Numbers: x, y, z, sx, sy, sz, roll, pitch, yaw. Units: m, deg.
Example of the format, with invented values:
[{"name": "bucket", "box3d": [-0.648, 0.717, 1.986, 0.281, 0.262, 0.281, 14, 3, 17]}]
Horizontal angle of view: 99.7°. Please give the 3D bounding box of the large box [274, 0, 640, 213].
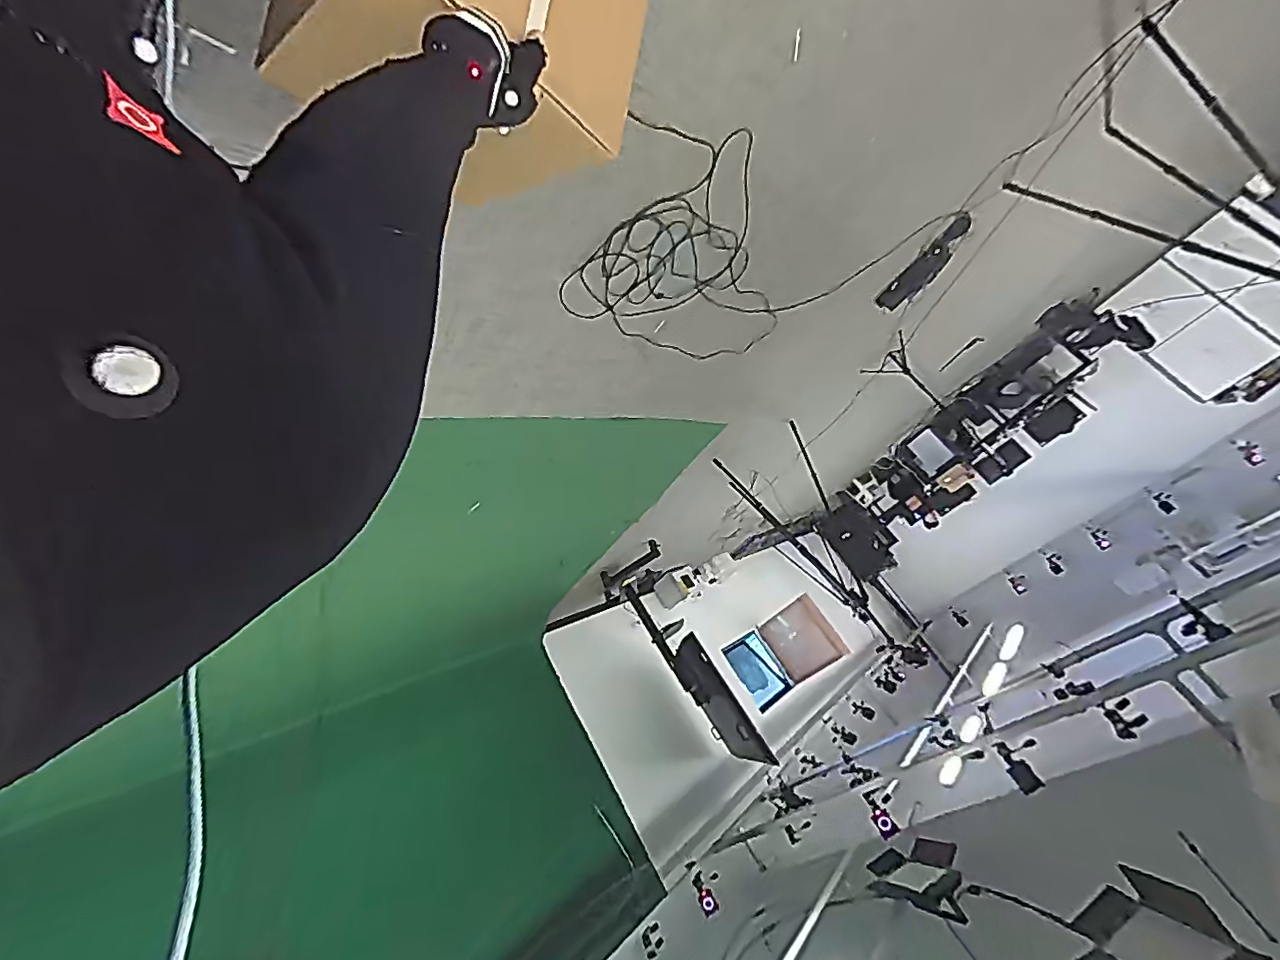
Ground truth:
[{"name": "large box", "box3d": [-0.213, -0.633, 0.684, 0.320, 0.408, 0.320, 7, 176, 39]}]
